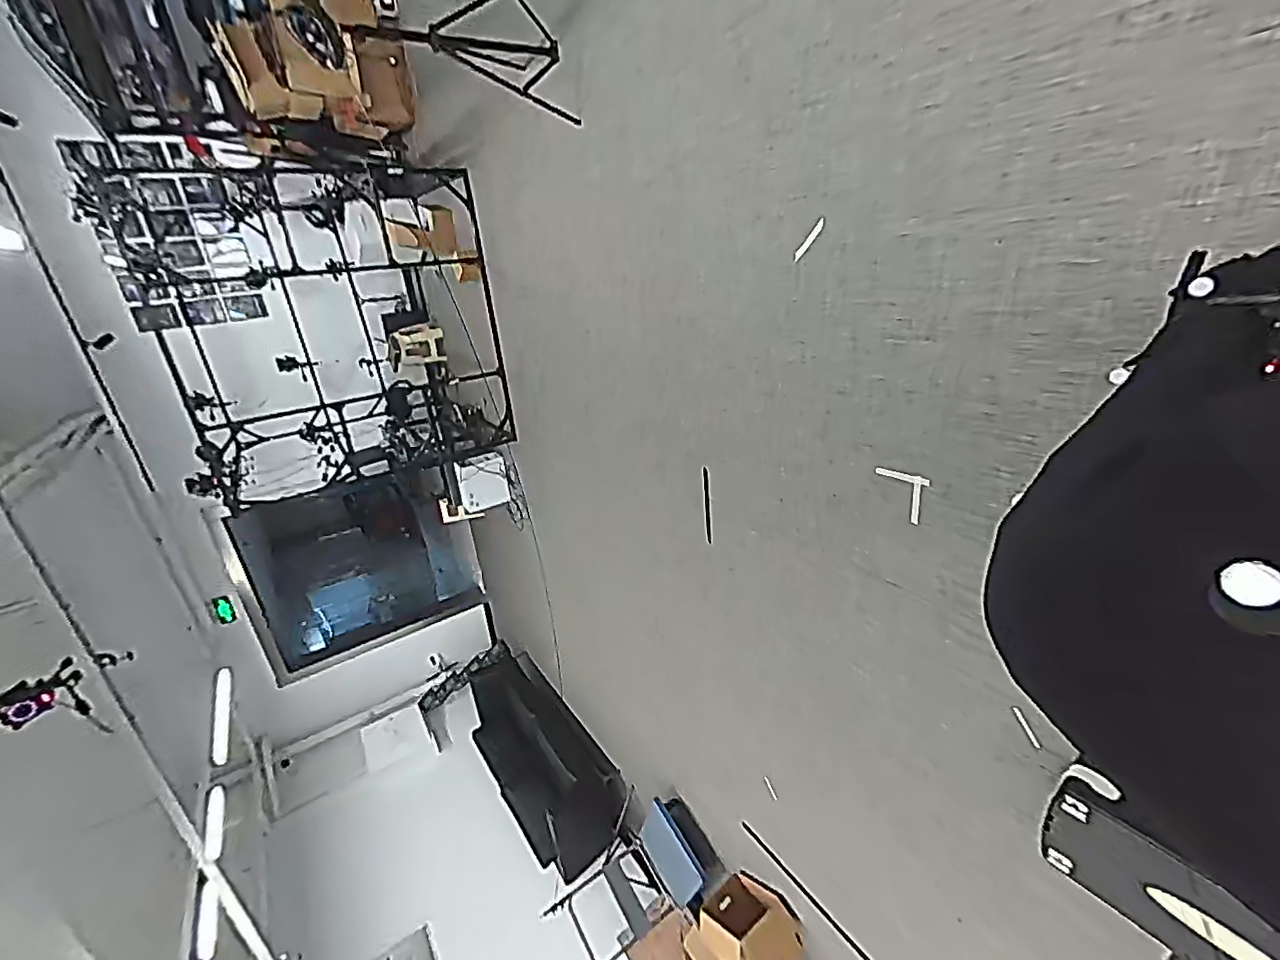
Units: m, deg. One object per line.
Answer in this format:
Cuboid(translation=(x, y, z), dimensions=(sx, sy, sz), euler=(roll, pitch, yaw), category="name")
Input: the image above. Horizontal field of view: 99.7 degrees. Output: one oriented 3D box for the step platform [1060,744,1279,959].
Cuboid(translation=(1.320, 0.905, 1.141), dimensions=(0.684, 0.204, 0.286), euler=(26, 128, 53), category="step platform")
